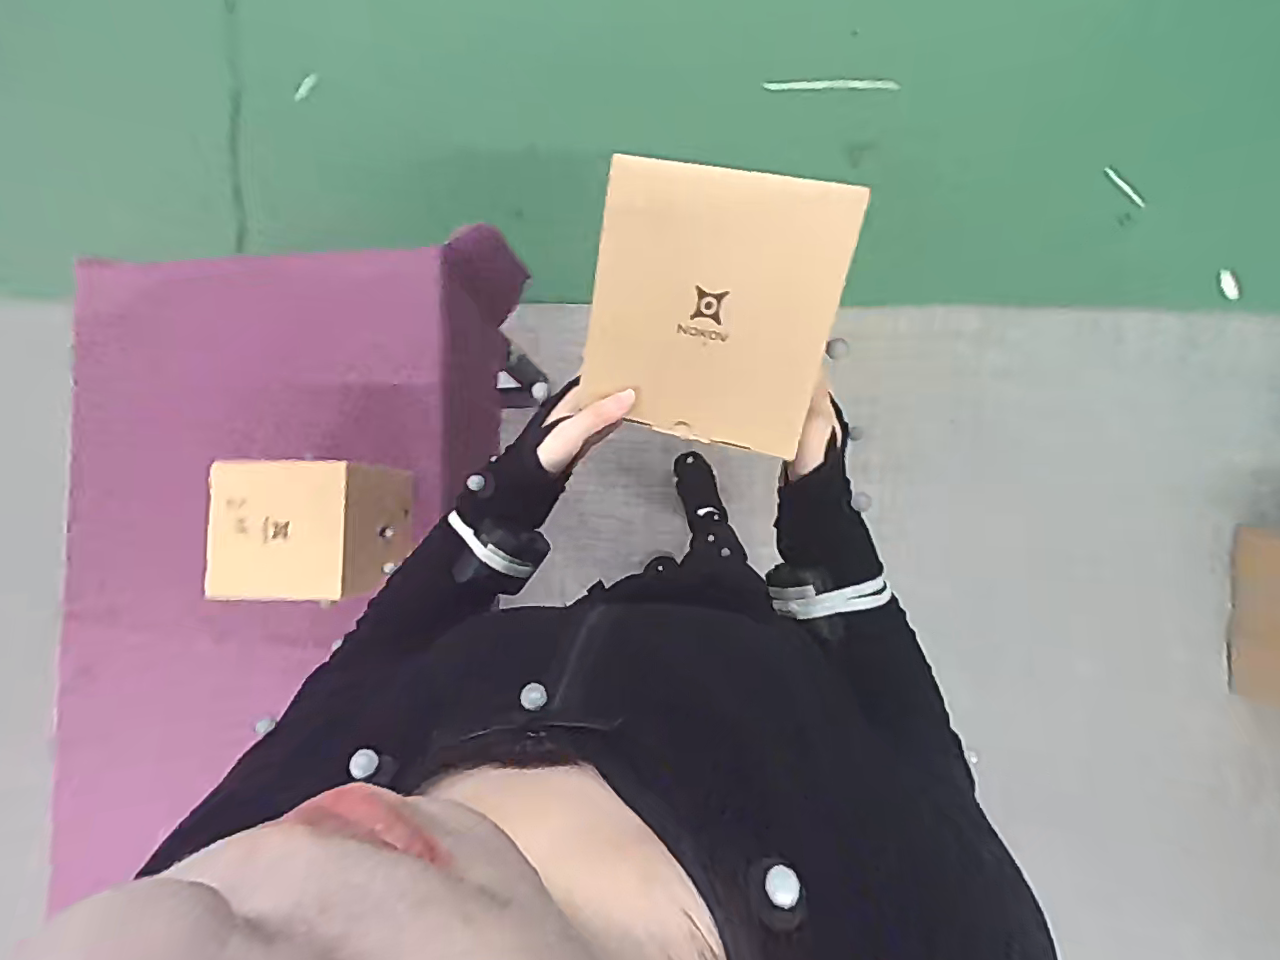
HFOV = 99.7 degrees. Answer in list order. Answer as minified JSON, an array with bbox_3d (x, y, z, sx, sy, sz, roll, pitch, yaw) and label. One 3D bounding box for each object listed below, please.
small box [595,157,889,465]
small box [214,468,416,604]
[{"bbox_3d":[0.078,-0.134,0.440,0.168,0.176,0.179,15,111,11],"label":"small box"},{"bbox_3d":[-0.423,0.071,0.730,0.179,0.176,0.168,-1,86,4],"label":"small box"}]
